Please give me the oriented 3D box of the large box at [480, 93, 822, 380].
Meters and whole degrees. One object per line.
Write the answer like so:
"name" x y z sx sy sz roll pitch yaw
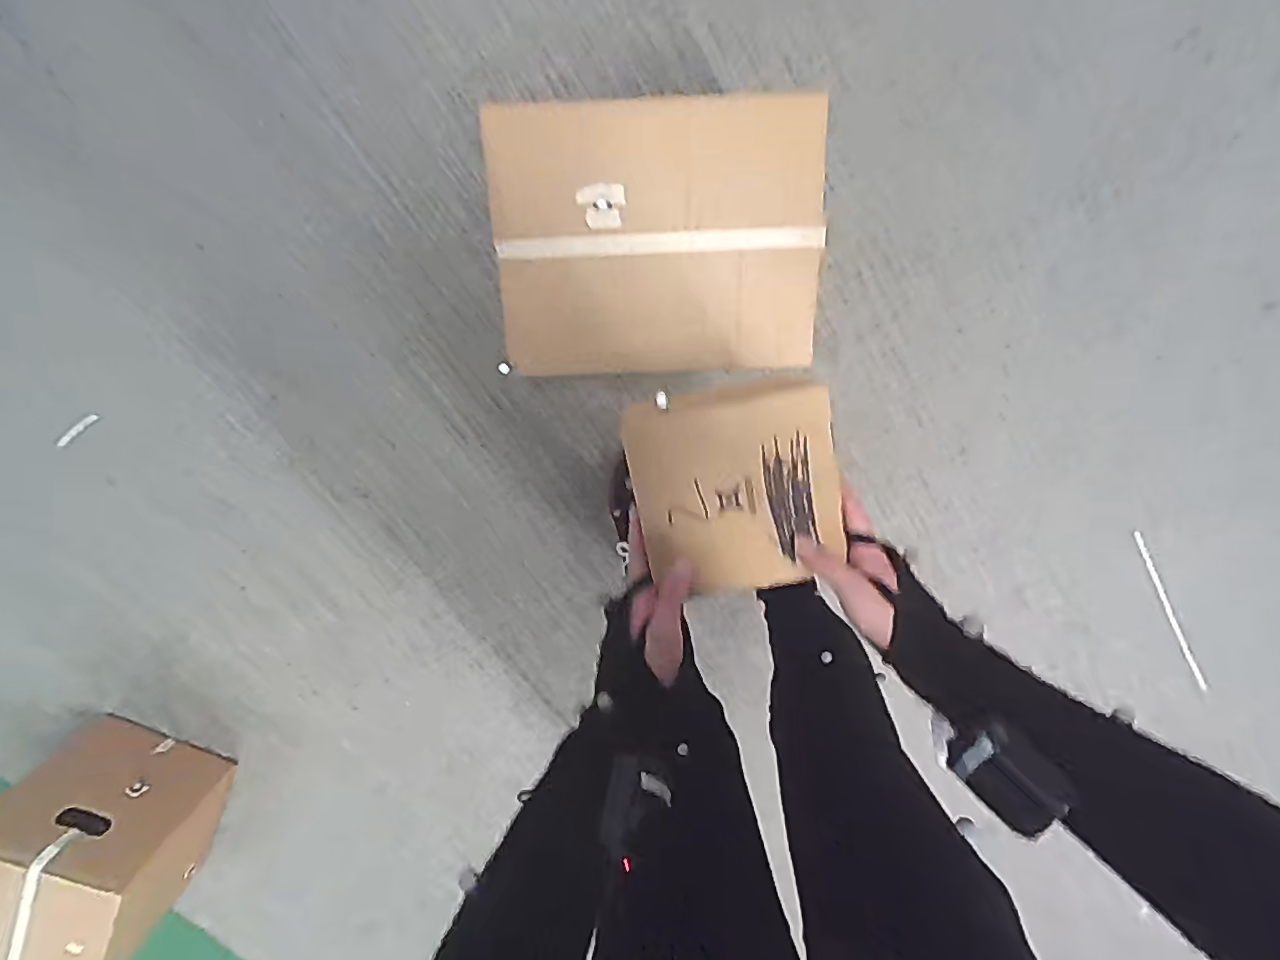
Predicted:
"large box" 0.022 -0.334 0.806 0.408 0.320 0.320 -2 108 1
